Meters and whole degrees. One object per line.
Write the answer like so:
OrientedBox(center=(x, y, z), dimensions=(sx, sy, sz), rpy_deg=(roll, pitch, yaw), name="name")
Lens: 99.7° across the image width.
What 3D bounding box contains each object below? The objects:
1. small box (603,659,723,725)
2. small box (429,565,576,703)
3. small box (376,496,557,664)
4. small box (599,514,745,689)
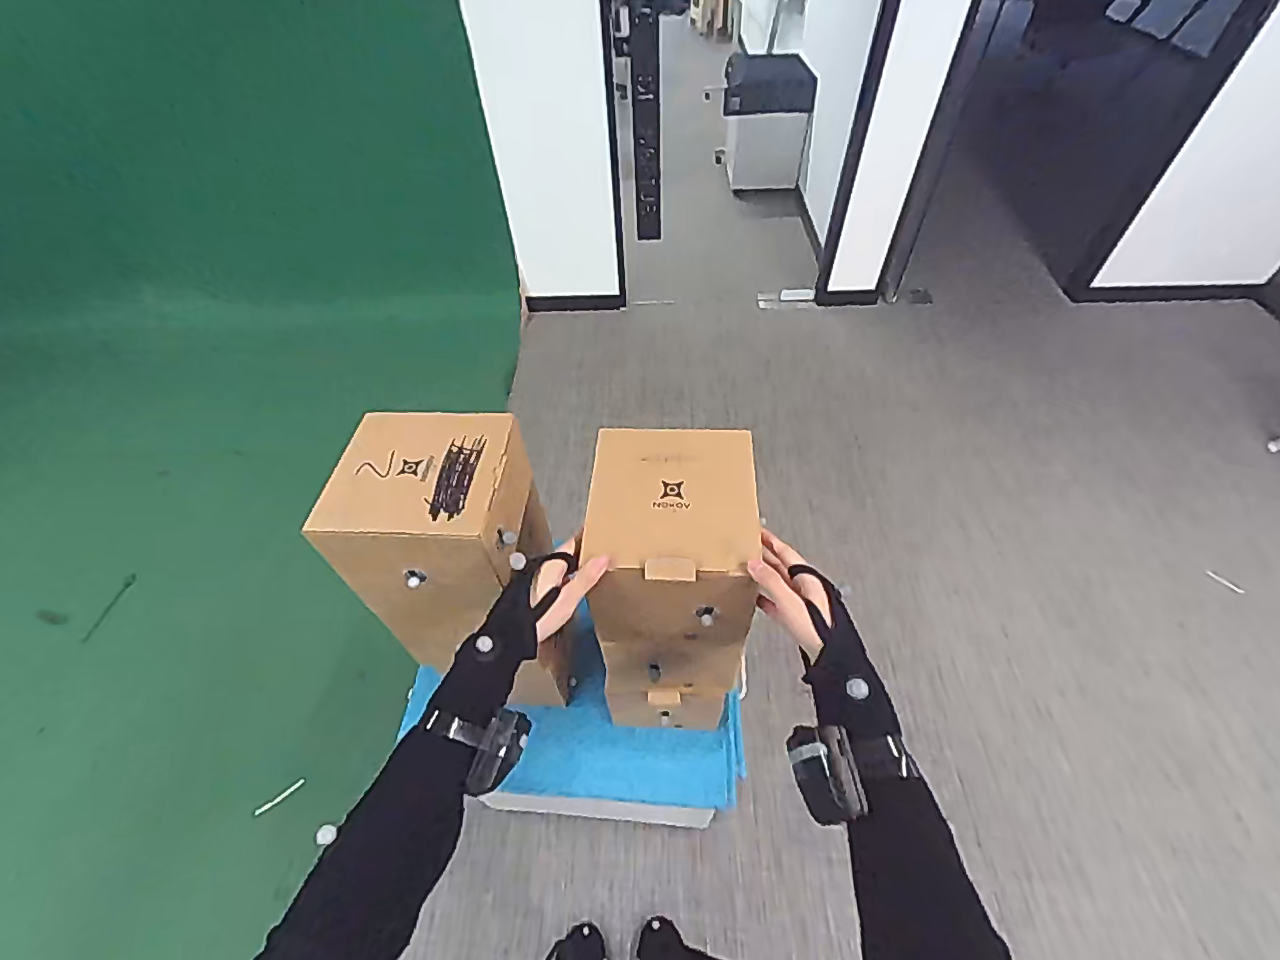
OrientedBox(center=(0.040, 0.266, 0.835), dimensions=(0.168, 0.176, 0.179), rpy_deg=(2, 51, 3), name="small box")
OrientedBox(center=(-0.202, 0.244, 0.861), dimensions=(0.179, 0.176, 0.168), rpy_deg=(1, 50, 3), name="small box")
OrientedBox(center=(-0.215, 0.139, 0.735), dimensions=(0.179, 0.176, 0.168), rpy_deg=(1, 50, 3), name="small box")
OrientedBox(center=(0.042, 0.163, 0.709), dimensions=(0.168, 0.176, 0.179), rpy_deg=(-1, 50, 3), name="small box")
